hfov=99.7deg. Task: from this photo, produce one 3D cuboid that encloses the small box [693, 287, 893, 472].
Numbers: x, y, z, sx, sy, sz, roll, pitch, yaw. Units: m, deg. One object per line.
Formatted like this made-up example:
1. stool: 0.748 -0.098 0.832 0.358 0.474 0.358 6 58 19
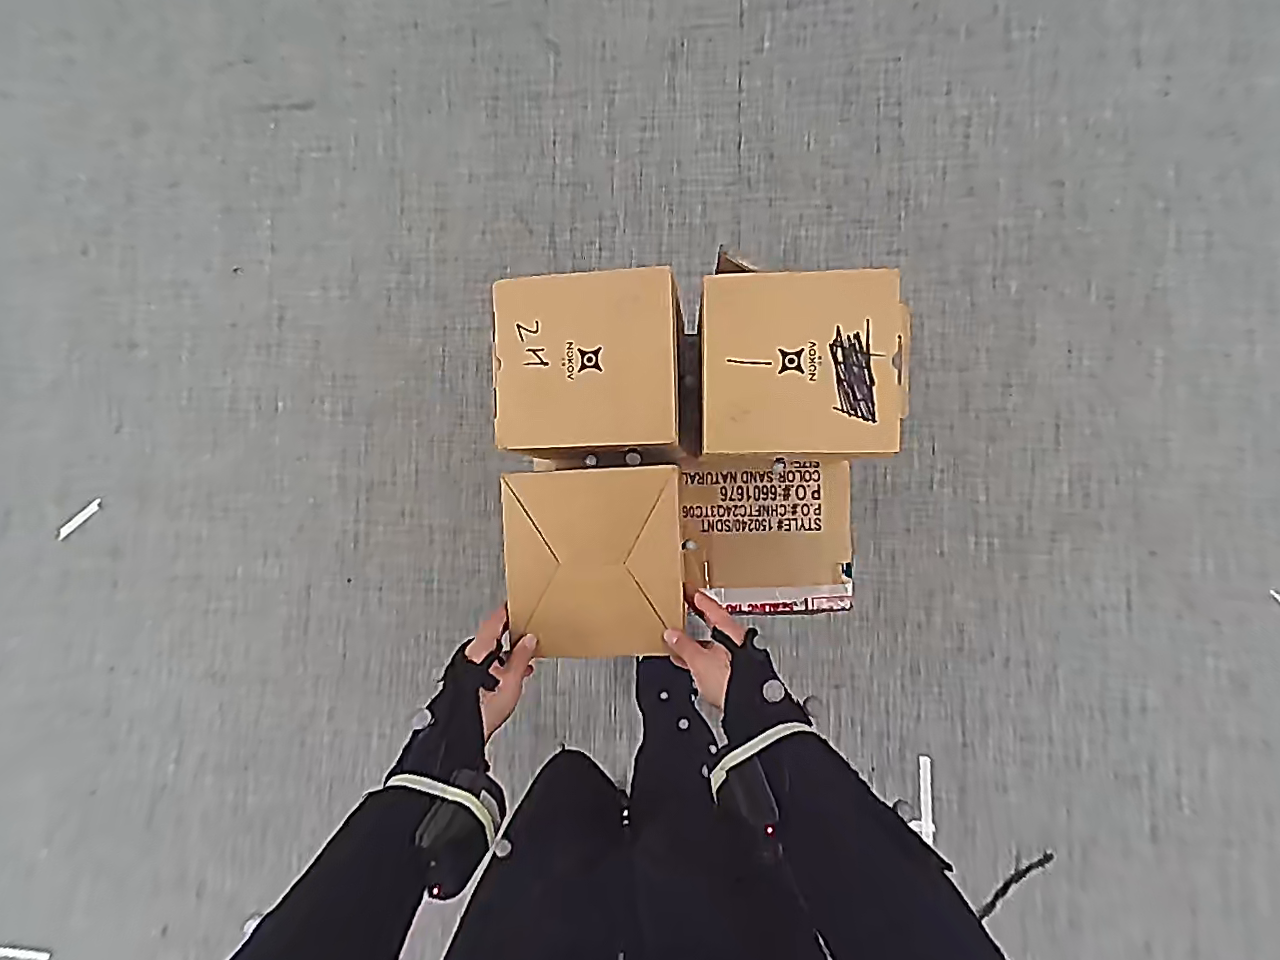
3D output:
1. small box: 0.147 -0.094 0.574 0.179 0.176 0.168 0 89 5
